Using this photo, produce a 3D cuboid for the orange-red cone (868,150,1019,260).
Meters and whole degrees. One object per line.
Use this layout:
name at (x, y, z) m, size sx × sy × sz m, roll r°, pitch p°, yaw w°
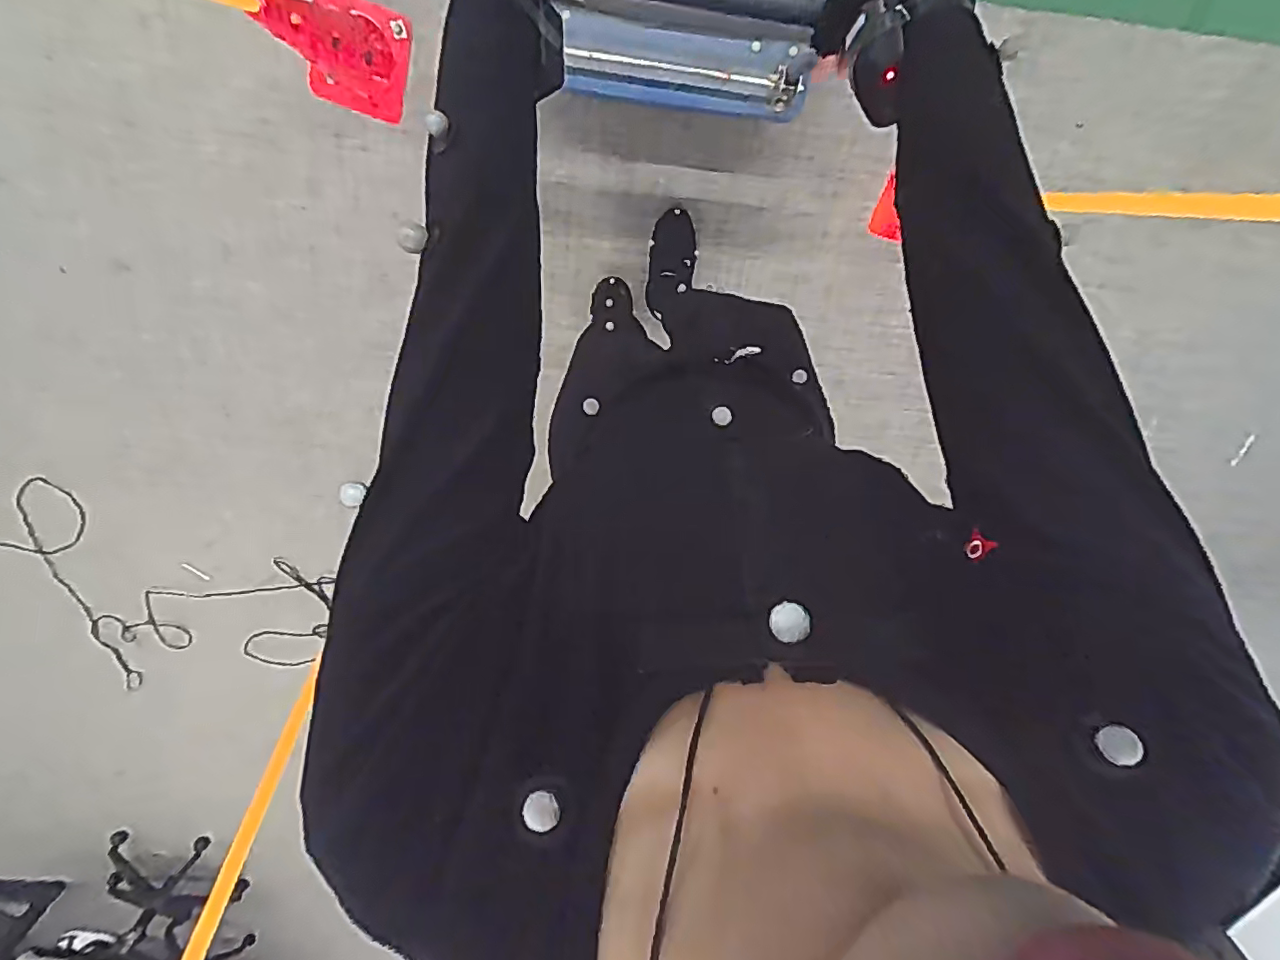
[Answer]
orange-red cone at (0.660, -0.565, 1.119) m, size 0.198 × 0.360 × 0.199 m, roll 16°, pitch 116°, yaw -7°
